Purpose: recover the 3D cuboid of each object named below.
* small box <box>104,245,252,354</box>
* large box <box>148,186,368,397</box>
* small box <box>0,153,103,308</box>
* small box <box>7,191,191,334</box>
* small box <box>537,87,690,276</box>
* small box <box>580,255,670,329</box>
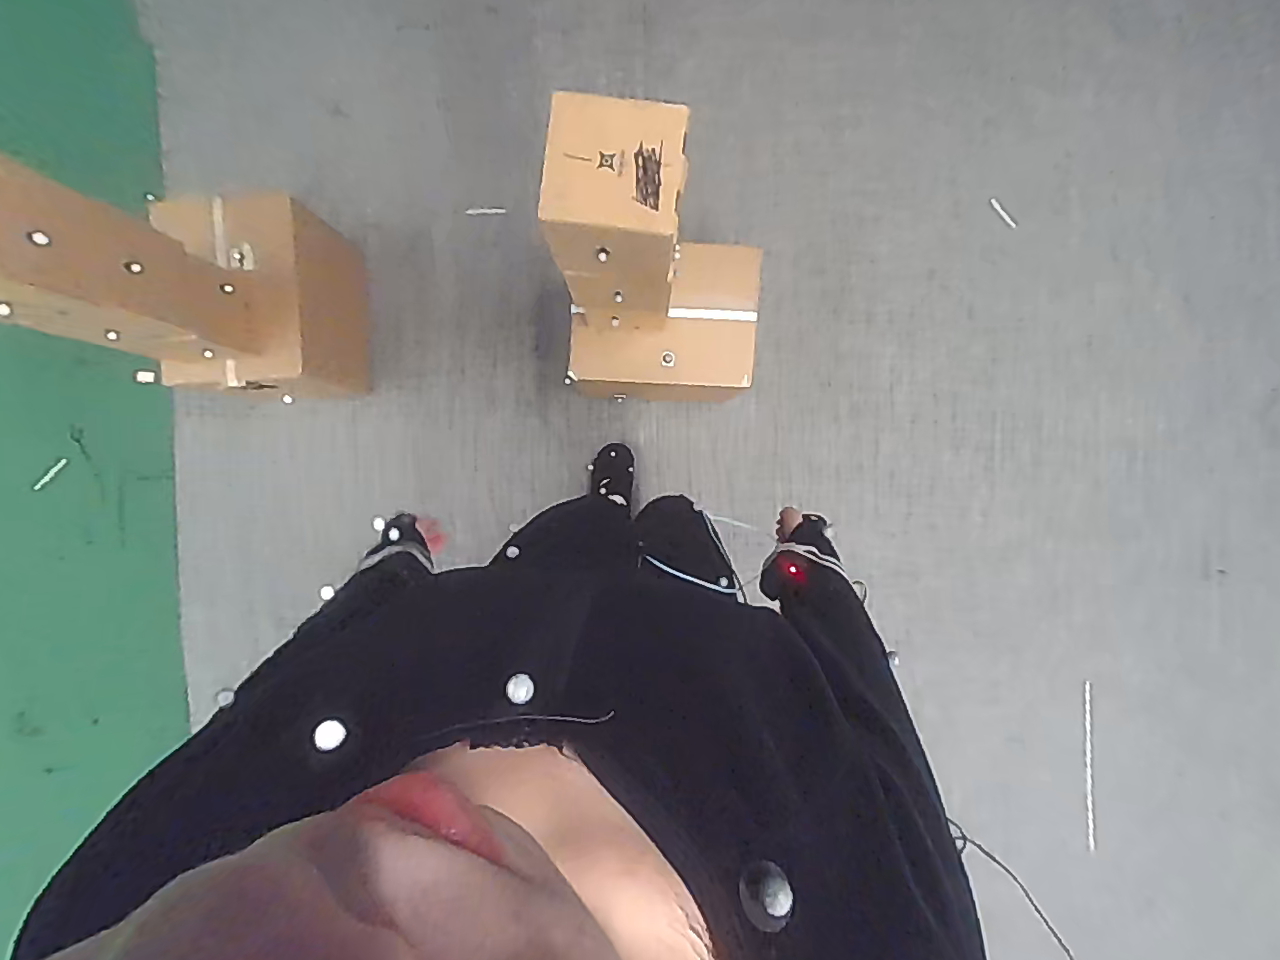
[{"bbox_3d":[-0.916,-0.353,1.083,0.179,0.176,0.168,-4,91,1],"label":"small box"},{"bbox_3d":[-0.903,-0.432,1.324,0.320,0.320,0.408,-3,91,0],"label":"large box"},{"bbox_3d":[-0.912,-0.349,0.755,0.168,0.176,0.179,-6,92,0],"label":"small box"},{"bbox_3d":[-0.915,-0.355,0.919,0.168,0.176,0.179,-8,91,-1],"label":"small box"},{"bbox_3d":[-0.033,-0.402,0.759,0.179,0.176,0.168,8,90,1],"label":"small box"},{"bbox_3d":[-0.026,-0.413,1.088,0.168,0.176,0.179,4,90,-1],"label":"small box"}]
